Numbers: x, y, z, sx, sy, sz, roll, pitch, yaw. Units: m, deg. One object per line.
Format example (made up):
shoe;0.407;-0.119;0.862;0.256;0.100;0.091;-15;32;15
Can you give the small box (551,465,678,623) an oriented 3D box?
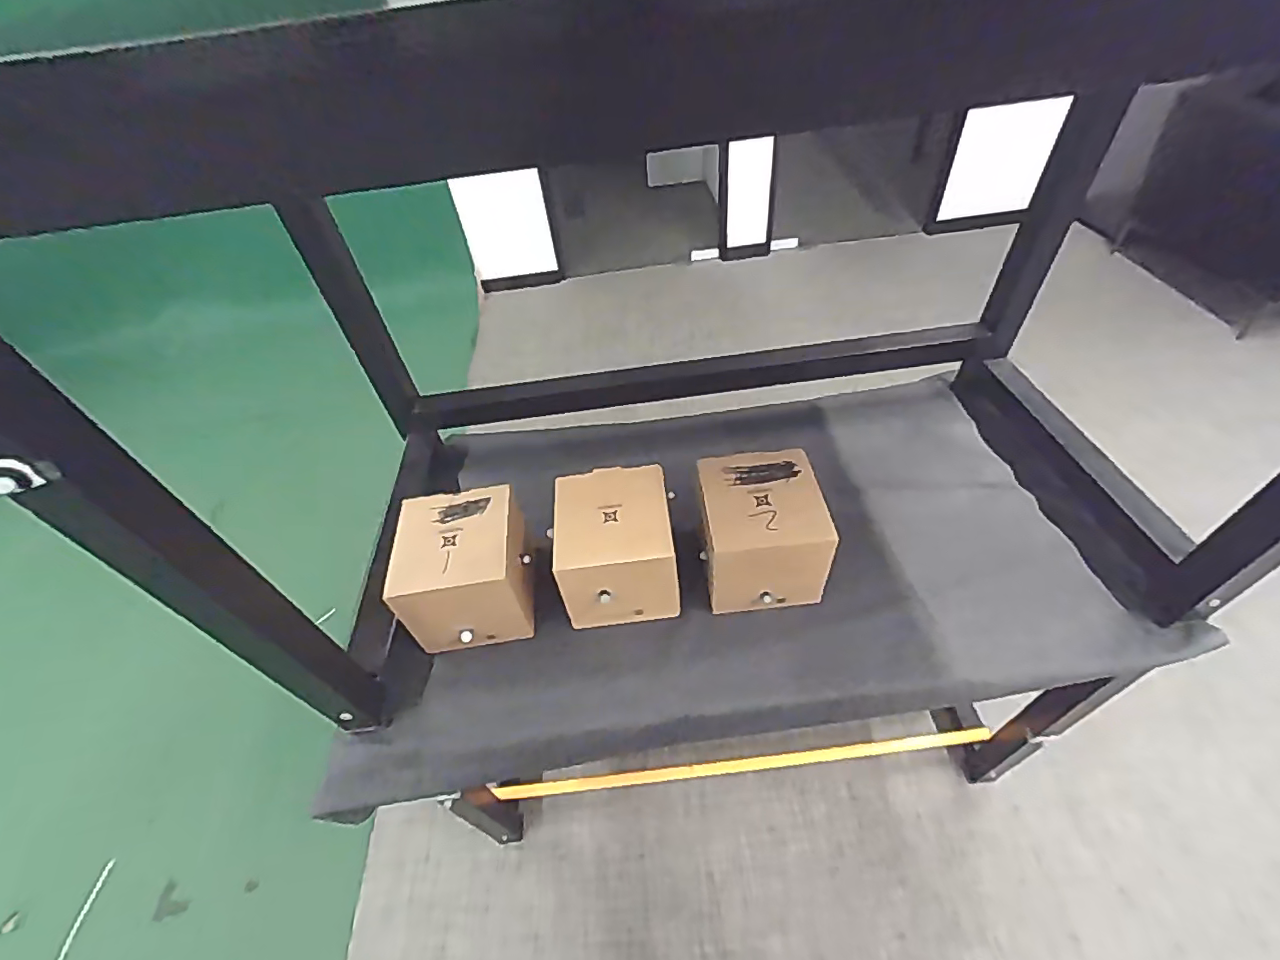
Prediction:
small box;-0.035;0.105;0.829;0.168;0.176;0.179;-8;45;0

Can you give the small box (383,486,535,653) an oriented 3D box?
small box;-0.260;0.137;0.824;0.168;0.176;0.179;-9;47;-1
